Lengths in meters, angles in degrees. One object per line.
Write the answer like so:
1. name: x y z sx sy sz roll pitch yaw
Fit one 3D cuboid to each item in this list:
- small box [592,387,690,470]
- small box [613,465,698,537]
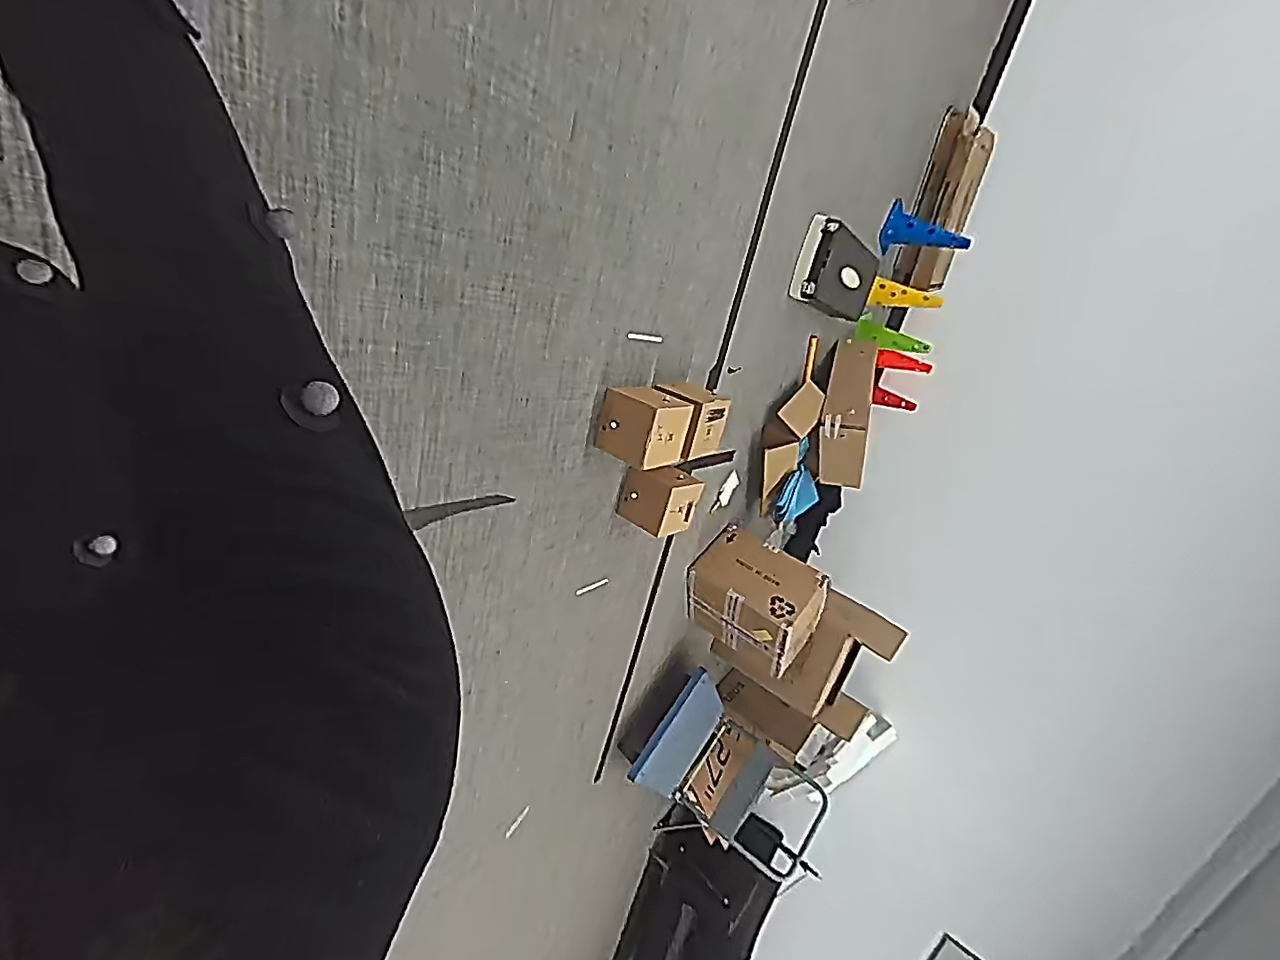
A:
1. small box: 0.001 -0.144 1.434 0.179 0.176 0.168 -14 124 -52
2. small box: 0.047 0.055 1.667 0.179 0.176 0.168 -9 121 -54
